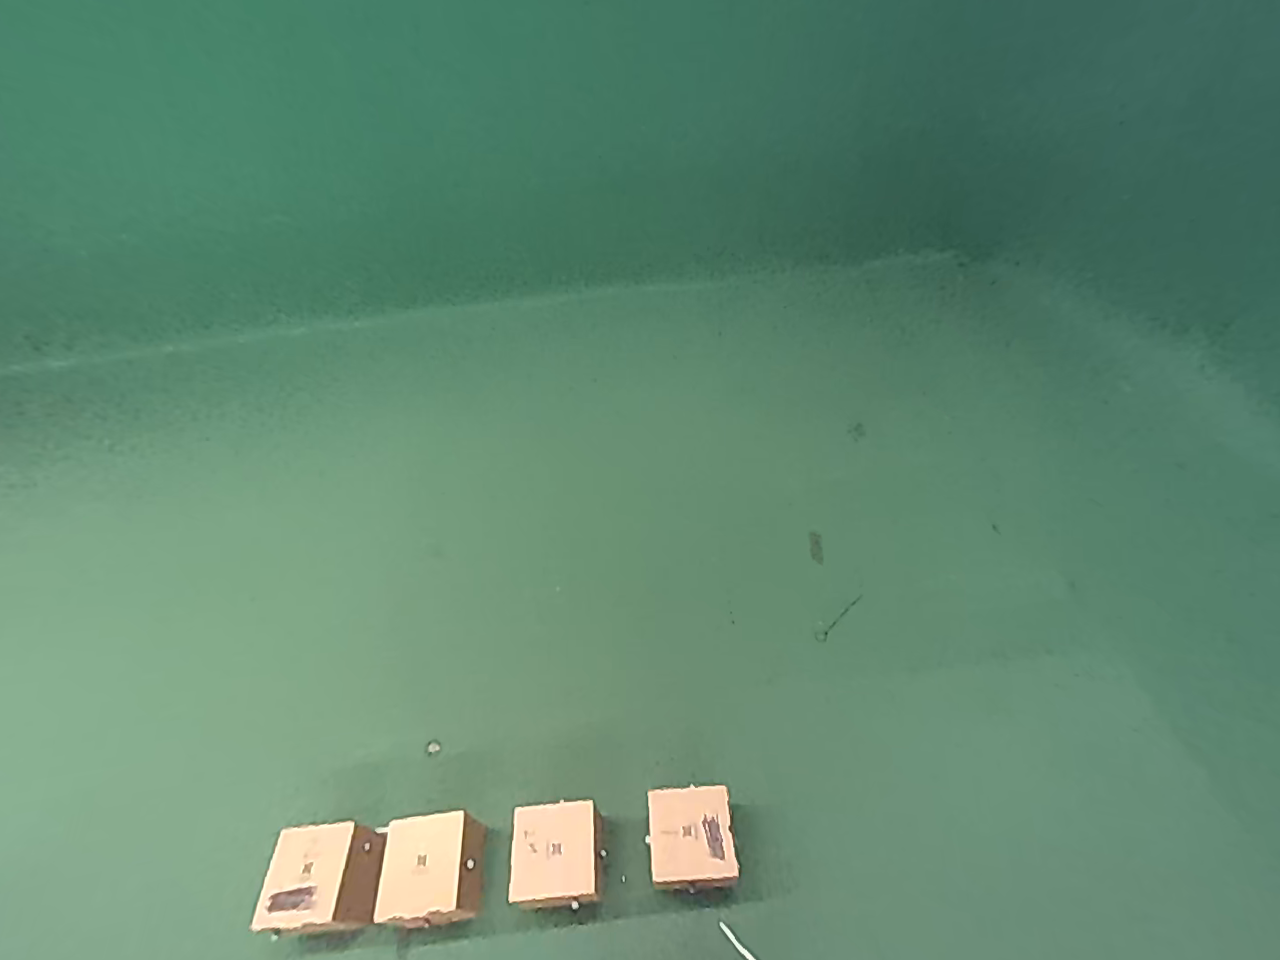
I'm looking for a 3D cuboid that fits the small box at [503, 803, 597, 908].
[{"bbox_3d":[-0.187,0.822,1.183,0.179,0.176,0.168,-5,48,0],"label":"small box"}]

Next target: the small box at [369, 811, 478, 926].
[{"bbox_3d":[-0.461,0.851,1.183,0.168,0.176,0.179,-7,49,-2],"label":"small box"}]

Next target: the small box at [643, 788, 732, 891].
[{"bbox_3d":[0.100,0.791,1.188,0.179,0.176,0.168,-5,48,2],"label":"small box"}]
